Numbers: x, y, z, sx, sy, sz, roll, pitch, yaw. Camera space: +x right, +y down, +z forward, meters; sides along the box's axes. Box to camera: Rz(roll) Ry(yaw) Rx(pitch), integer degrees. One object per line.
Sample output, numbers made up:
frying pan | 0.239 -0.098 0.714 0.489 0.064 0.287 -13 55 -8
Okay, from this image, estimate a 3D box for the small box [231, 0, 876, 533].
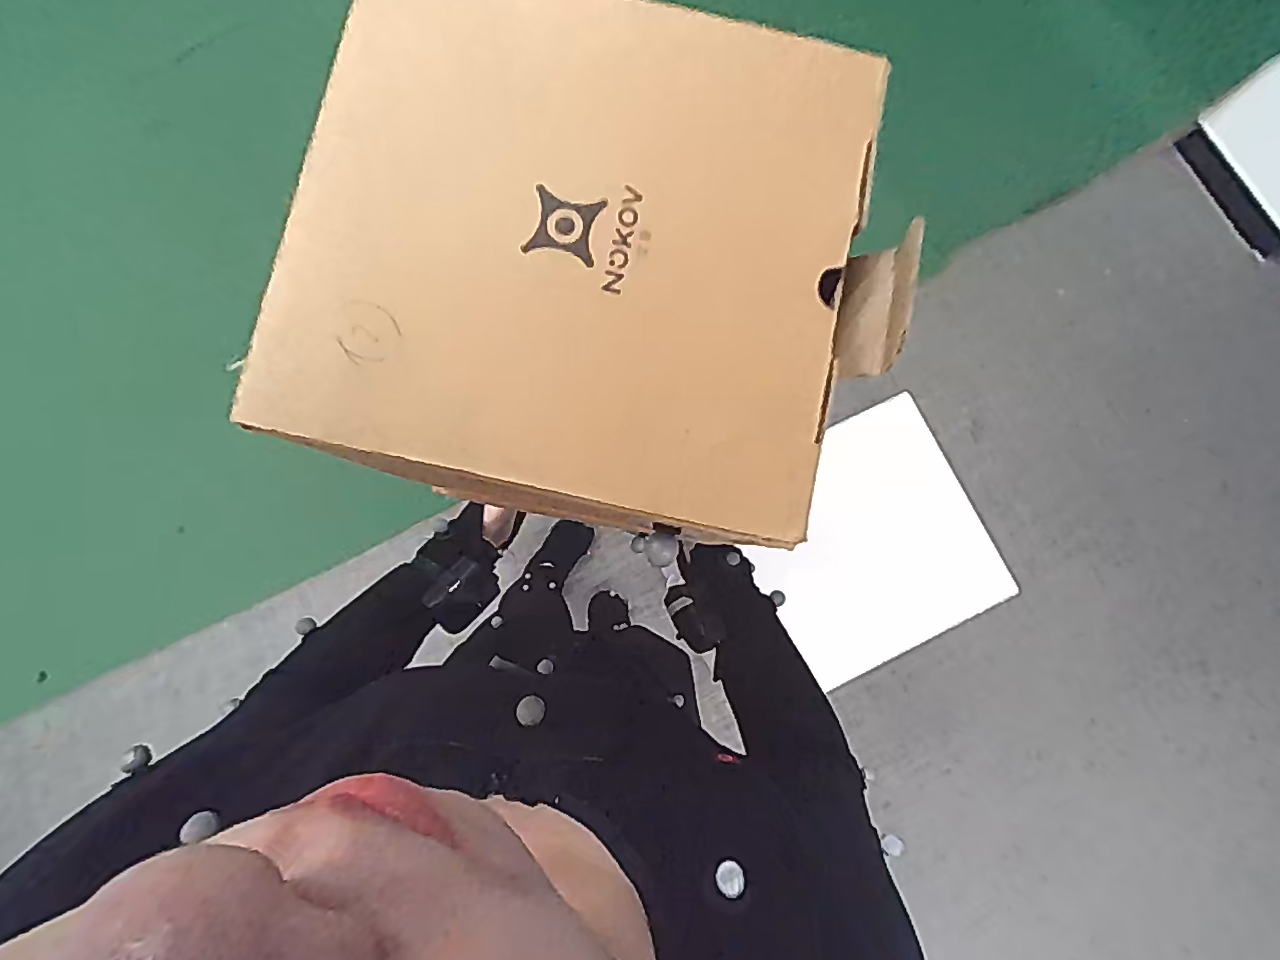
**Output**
small box | -0.024 -0.070 0.249 0.179 0.176 0.168 11 84 -2
